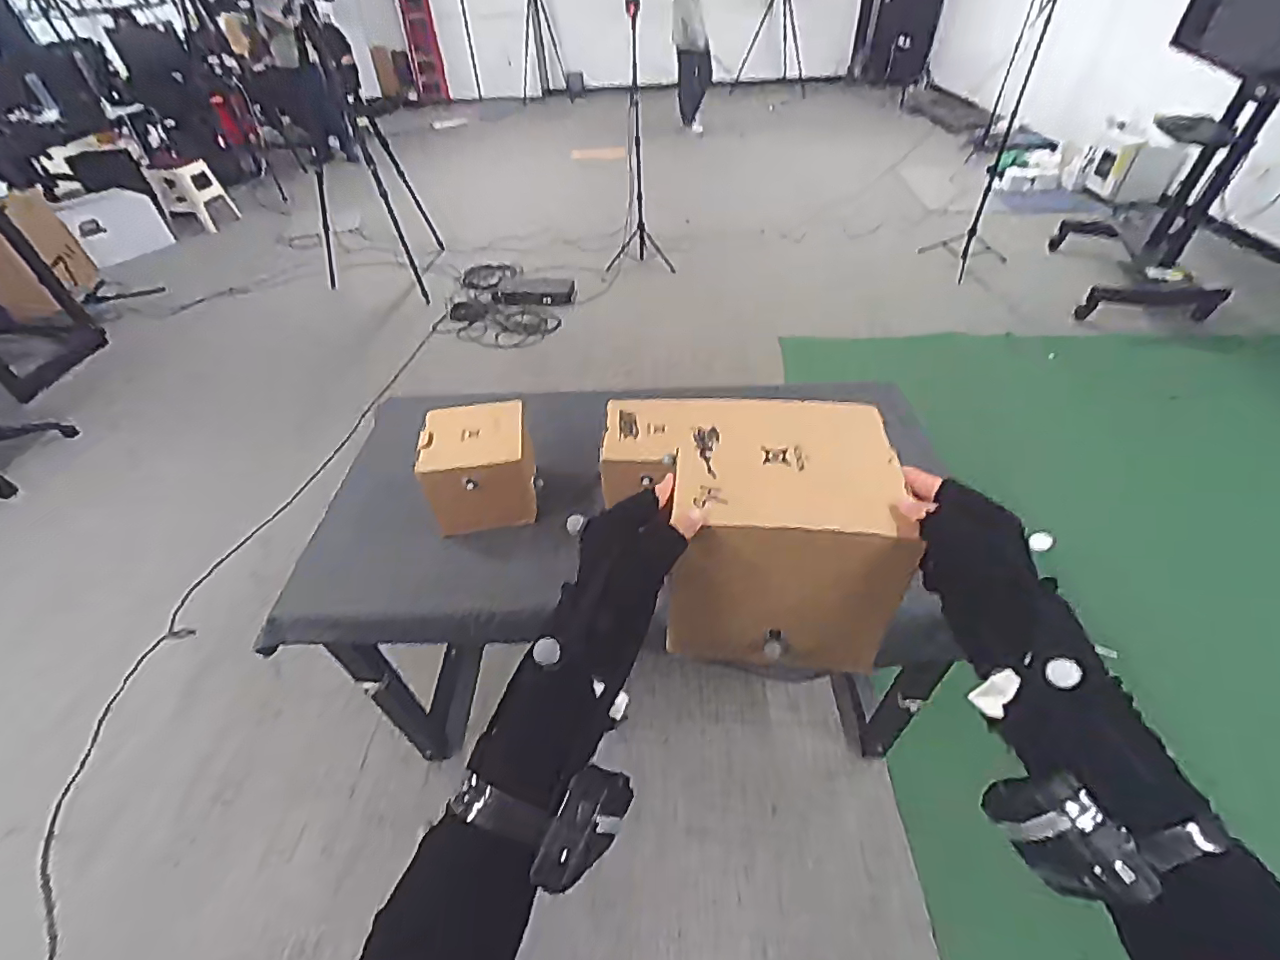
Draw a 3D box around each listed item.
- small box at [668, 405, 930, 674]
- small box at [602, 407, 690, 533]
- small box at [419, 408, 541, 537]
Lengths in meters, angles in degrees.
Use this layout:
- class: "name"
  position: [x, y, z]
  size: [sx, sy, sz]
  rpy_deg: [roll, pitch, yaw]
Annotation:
- class: "small box"
  position: [0.120, 0.052, 0.482]
  size: [0.179, 0.176, 0.168]
  rpy_deg: [4, 38, 5]
- class: "small box"
  position: [0.032, -0.017, 0.987]
  size: [0.179, 0.176, 0.168]
  rpy_deg: [0, 44, 3]
- class: "small box"
  position: [-0.285, -0.011, 1.001]
  size: [0.179, 0.176, 0.168]
  rpy_deg: [-7, 45, -5]
